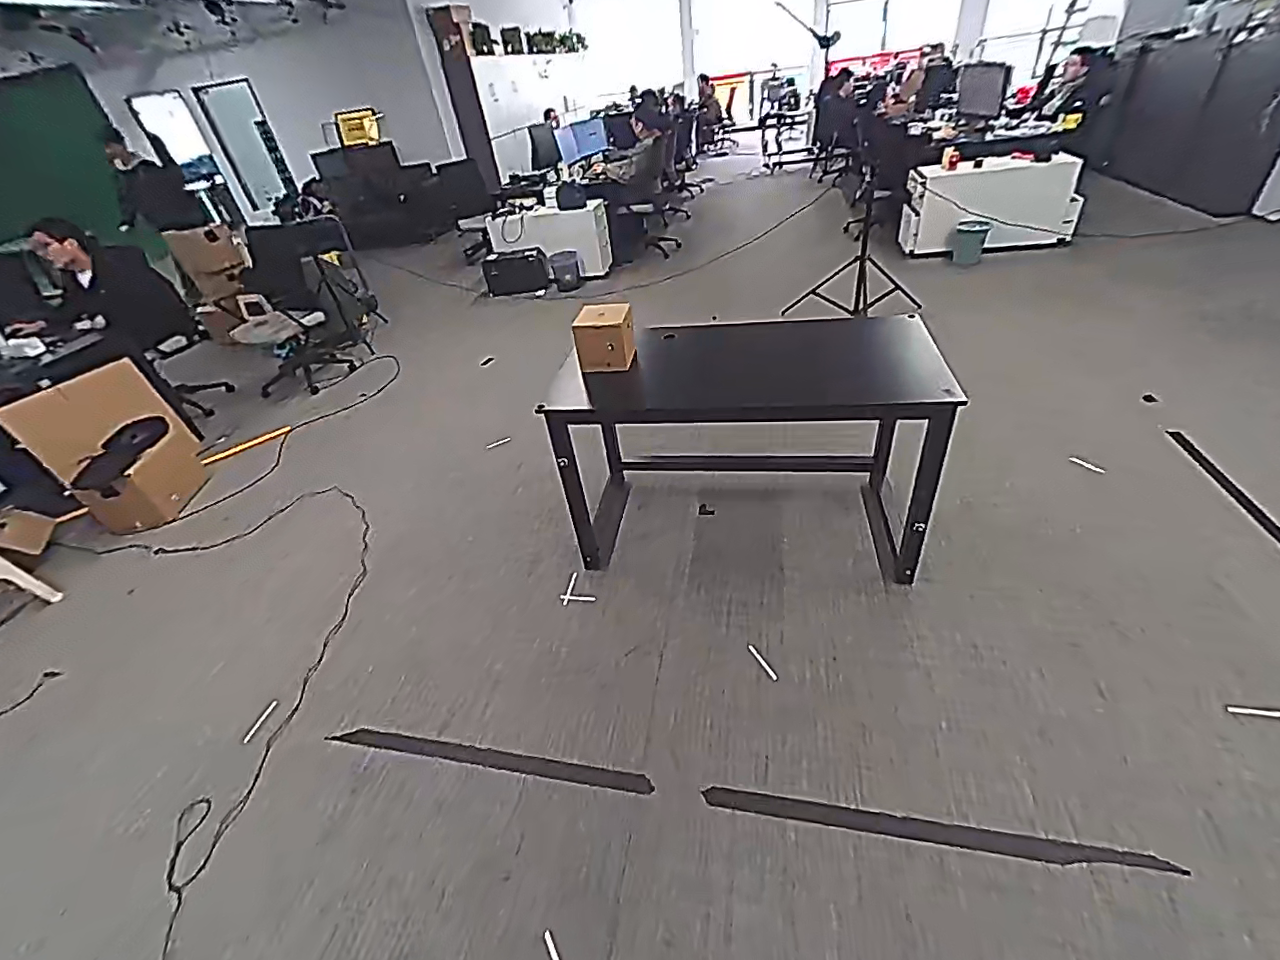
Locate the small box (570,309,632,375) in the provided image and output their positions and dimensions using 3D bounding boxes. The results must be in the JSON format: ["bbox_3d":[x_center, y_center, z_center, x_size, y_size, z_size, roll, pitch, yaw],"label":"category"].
[{"bbox_3d":[-0.126,-0.465,1.842,0.168,0.176,0.179,1,37,10],"label":"small box"}]
